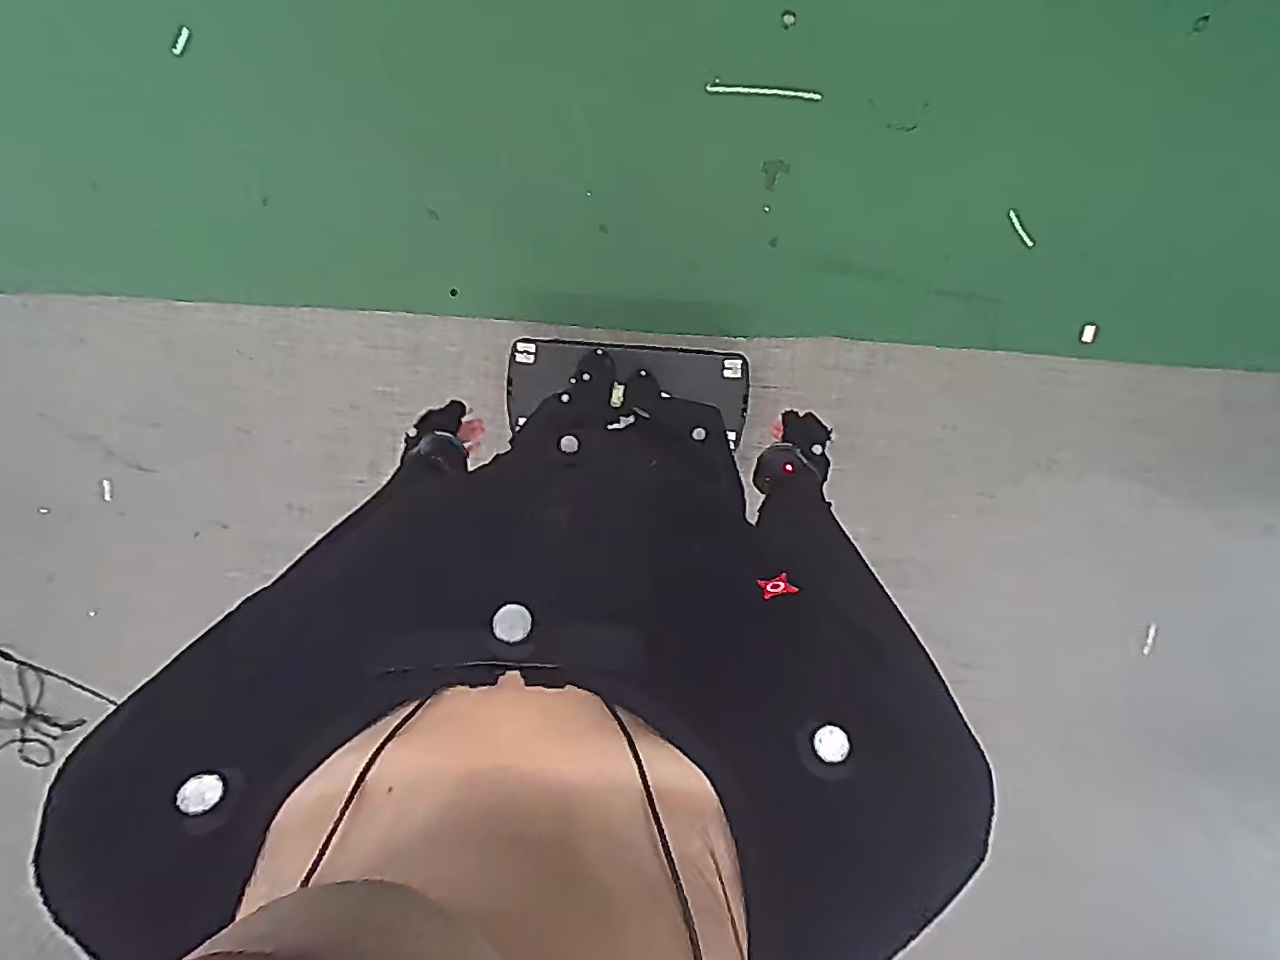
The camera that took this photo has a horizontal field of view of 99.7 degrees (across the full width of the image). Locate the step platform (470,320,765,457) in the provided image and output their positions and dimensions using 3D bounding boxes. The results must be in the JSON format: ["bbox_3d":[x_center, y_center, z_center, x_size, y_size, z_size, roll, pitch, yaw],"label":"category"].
[{"bbox_3d":[-0.053,-0.228,1.345,0.684,0.204,0.286,4,102,1],"label":"step platform"}]
